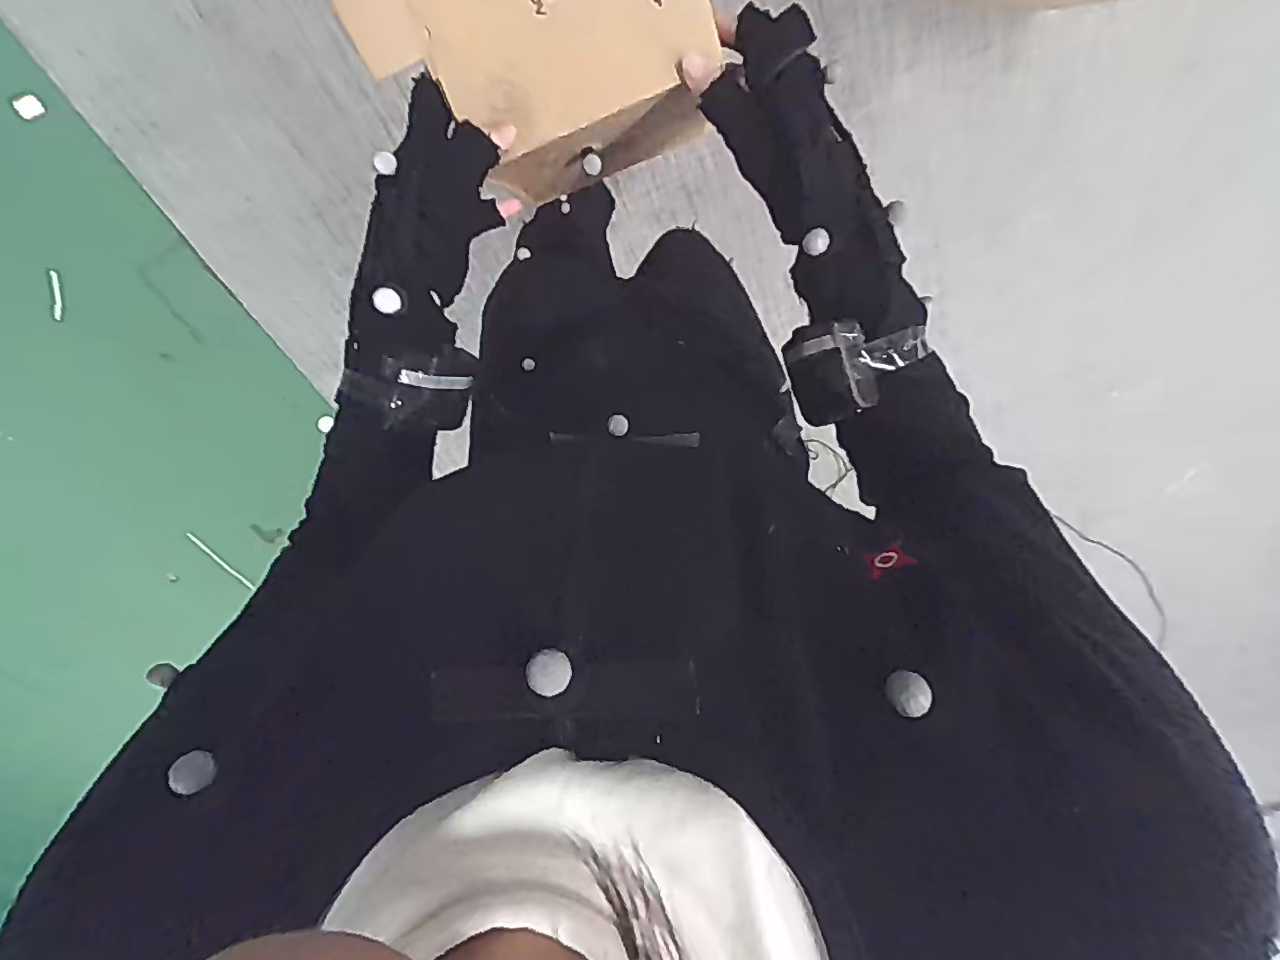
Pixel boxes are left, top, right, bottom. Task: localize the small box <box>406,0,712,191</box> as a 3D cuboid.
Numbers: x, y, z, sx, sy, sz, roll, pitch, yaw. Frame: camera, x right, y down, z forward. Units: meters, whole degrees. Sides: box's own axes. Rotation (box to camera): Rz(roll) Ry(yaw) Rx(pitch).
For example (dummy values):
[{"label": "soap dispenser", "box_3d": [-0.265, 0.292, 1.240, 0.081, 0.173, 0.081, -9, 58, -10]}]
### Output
[{"label": "small box", "box_3d": [-0.056, -0.343, 0.402, 0.179, 0.176, 0.168, -20, 106, 11]}]
